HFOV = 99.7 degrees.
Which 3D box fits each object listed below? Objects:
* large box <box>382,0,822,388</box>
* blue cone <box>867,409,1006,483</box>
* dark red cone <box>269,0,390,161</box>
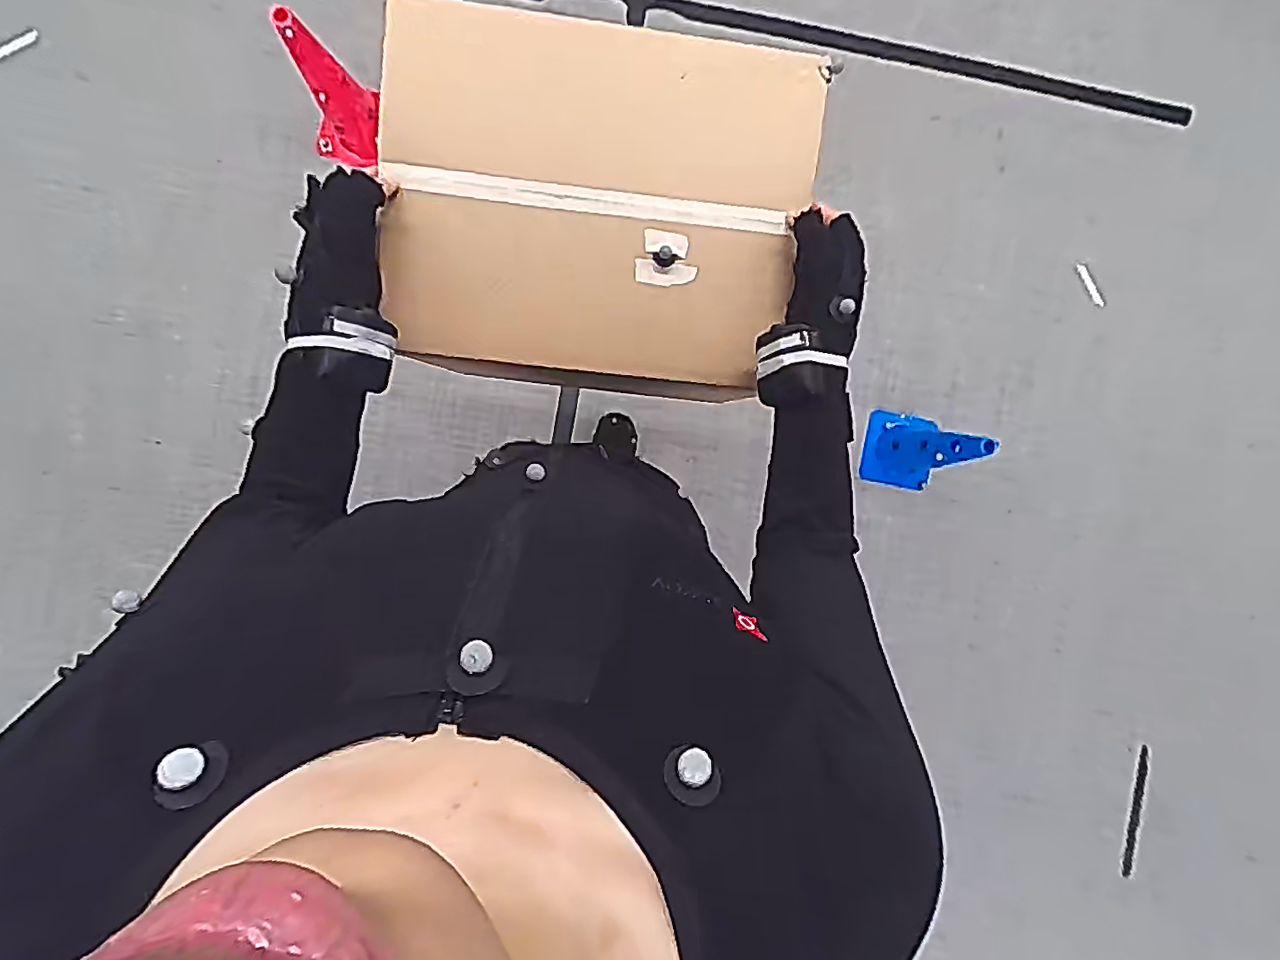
[{"bbox_3d":[-0.047,-0.292,0.658,0.408,0.320,0.320,5,97,-4],"label":"large box"},{"bbox_3d":[0.748,-0.090,1.348,0.192,0.380,0.193,13,91,-5],"label":"blue cone"},{"bbox_3d":[-0.696,-0.916,1.195,0.201,0.394,0.202,15,91,-5],"label":"dark red cone"}]
